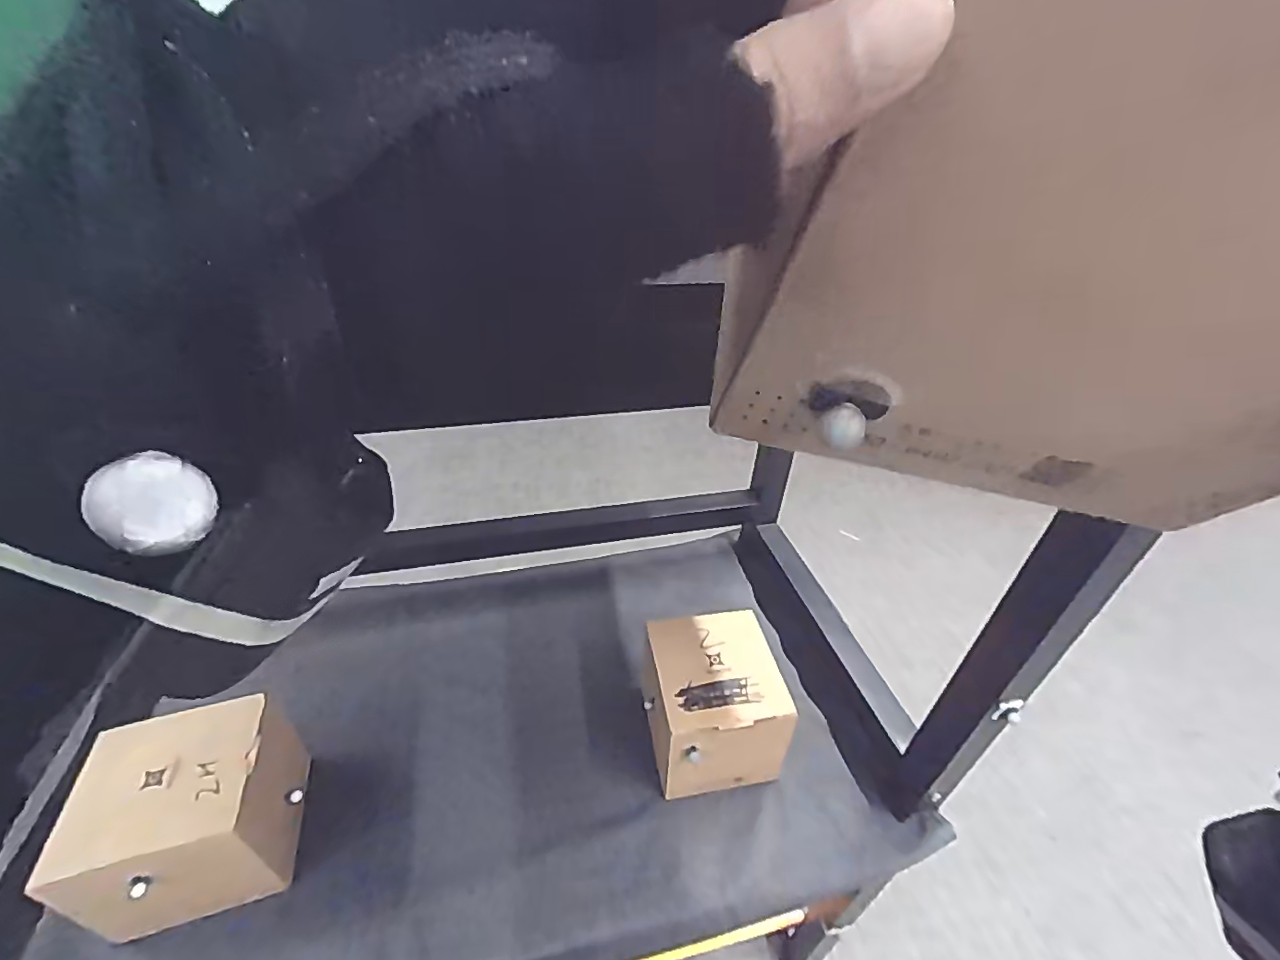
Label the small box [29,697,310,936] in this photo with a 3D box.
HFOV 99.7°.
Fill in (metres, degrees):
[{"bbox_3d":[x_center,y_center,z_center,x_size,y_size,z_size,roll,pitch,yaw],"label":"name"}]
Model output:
[{"bbox_3d":[-0.526,0.396,0.642,0.179,0.176,0.168,-9,38,-16],"label":"small box"}]
